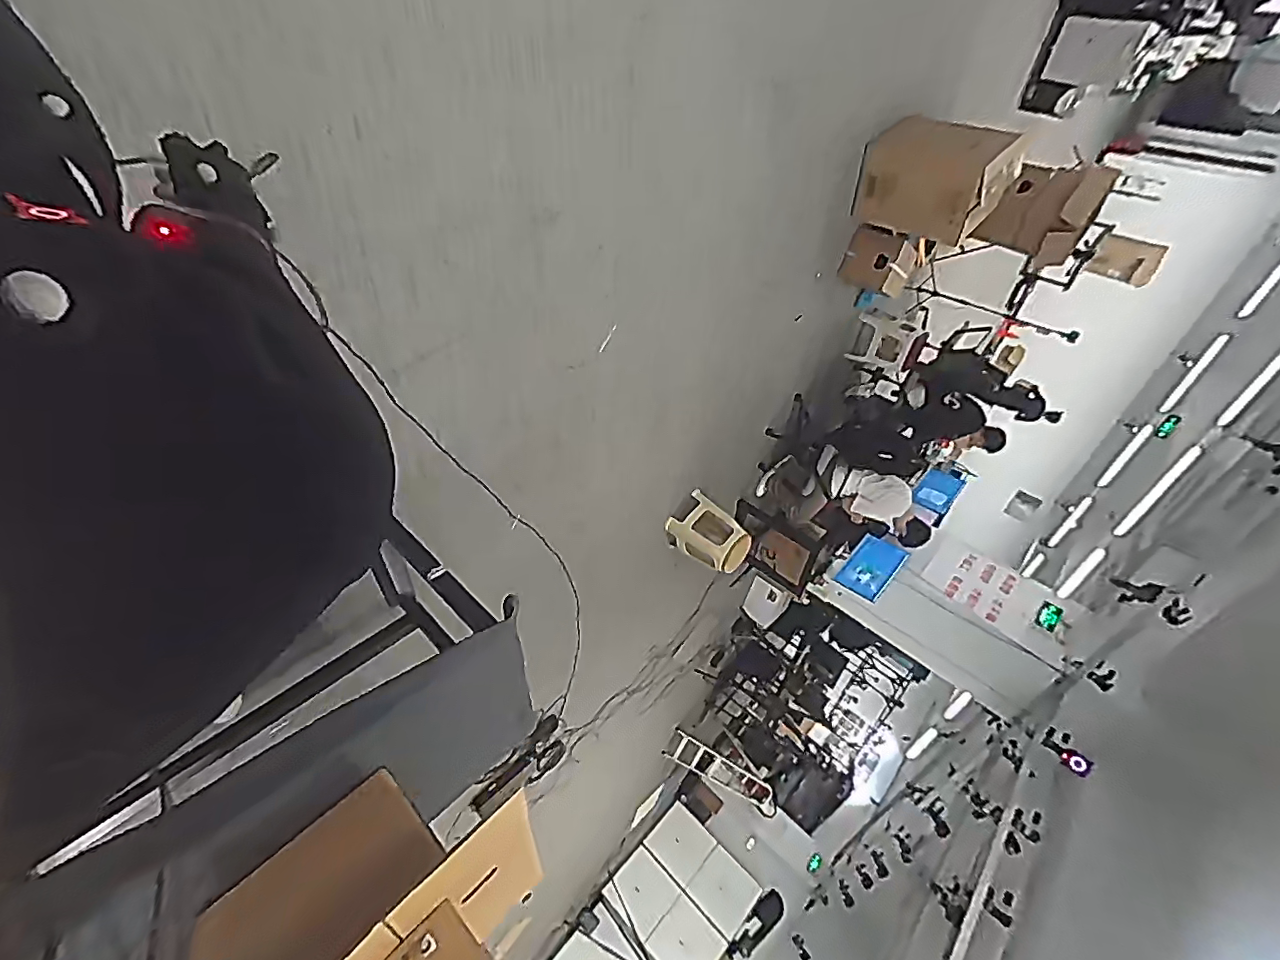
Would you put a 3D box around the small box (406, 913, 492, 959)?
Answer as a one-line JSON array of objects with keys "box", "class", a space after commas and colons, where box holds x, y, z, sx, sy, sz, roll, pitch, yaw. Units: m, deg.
[{"box": [-0.352, 0.960, 1.006, 0.168, 0.176, 0.179, -35, 142, -36], "class": "small box"}]
